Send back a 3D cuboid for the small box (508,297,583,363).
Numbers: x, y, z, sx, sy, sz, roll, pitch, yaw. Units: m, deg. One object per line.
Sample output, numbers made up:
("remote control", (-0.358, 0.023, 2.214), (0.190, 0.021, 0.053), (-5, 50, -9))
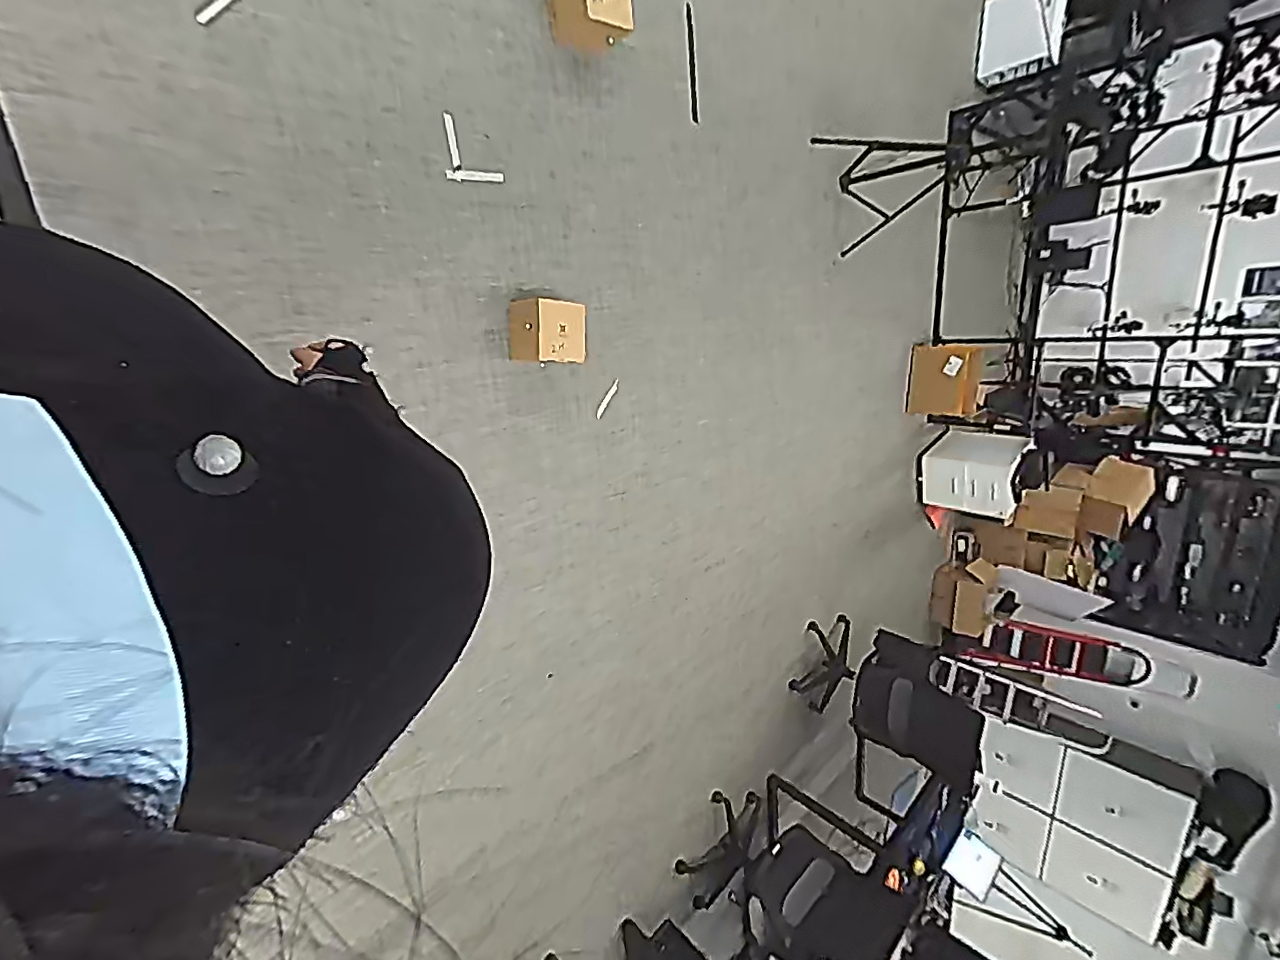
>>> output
("small box", (-0.289, -0.451, 1.645), (0.168, 0.176, 0.179), (-8, 105, -42))
